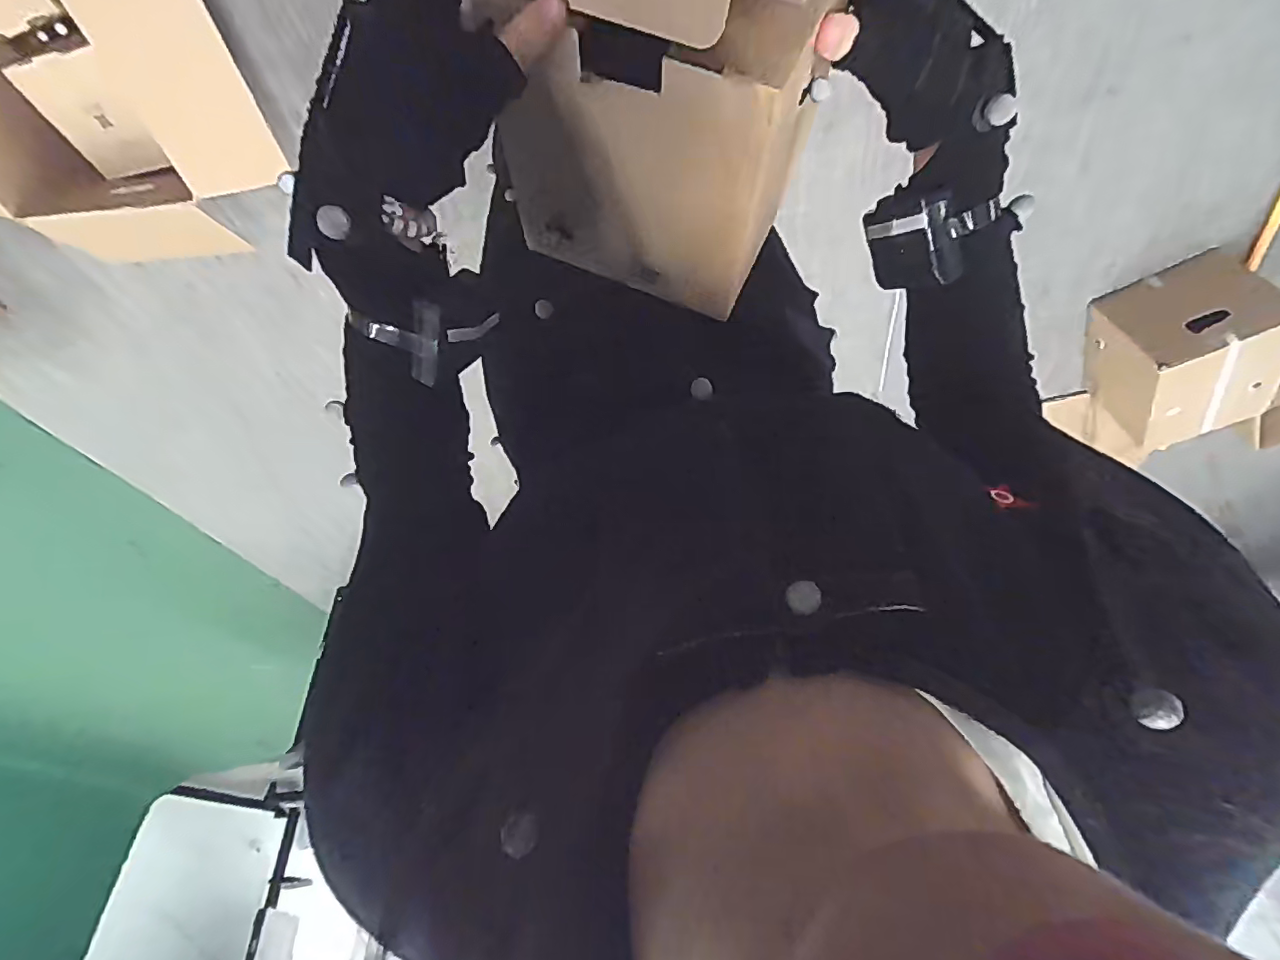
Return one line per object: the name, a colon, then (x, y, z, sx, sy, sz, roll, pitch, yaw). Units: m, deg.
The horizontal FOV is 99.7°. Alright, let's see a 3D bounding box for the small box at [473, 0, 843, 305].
small box: (0.023, -0.252, 0.363, 0.168, 0.179, 0.176, 23, 161, 8)
